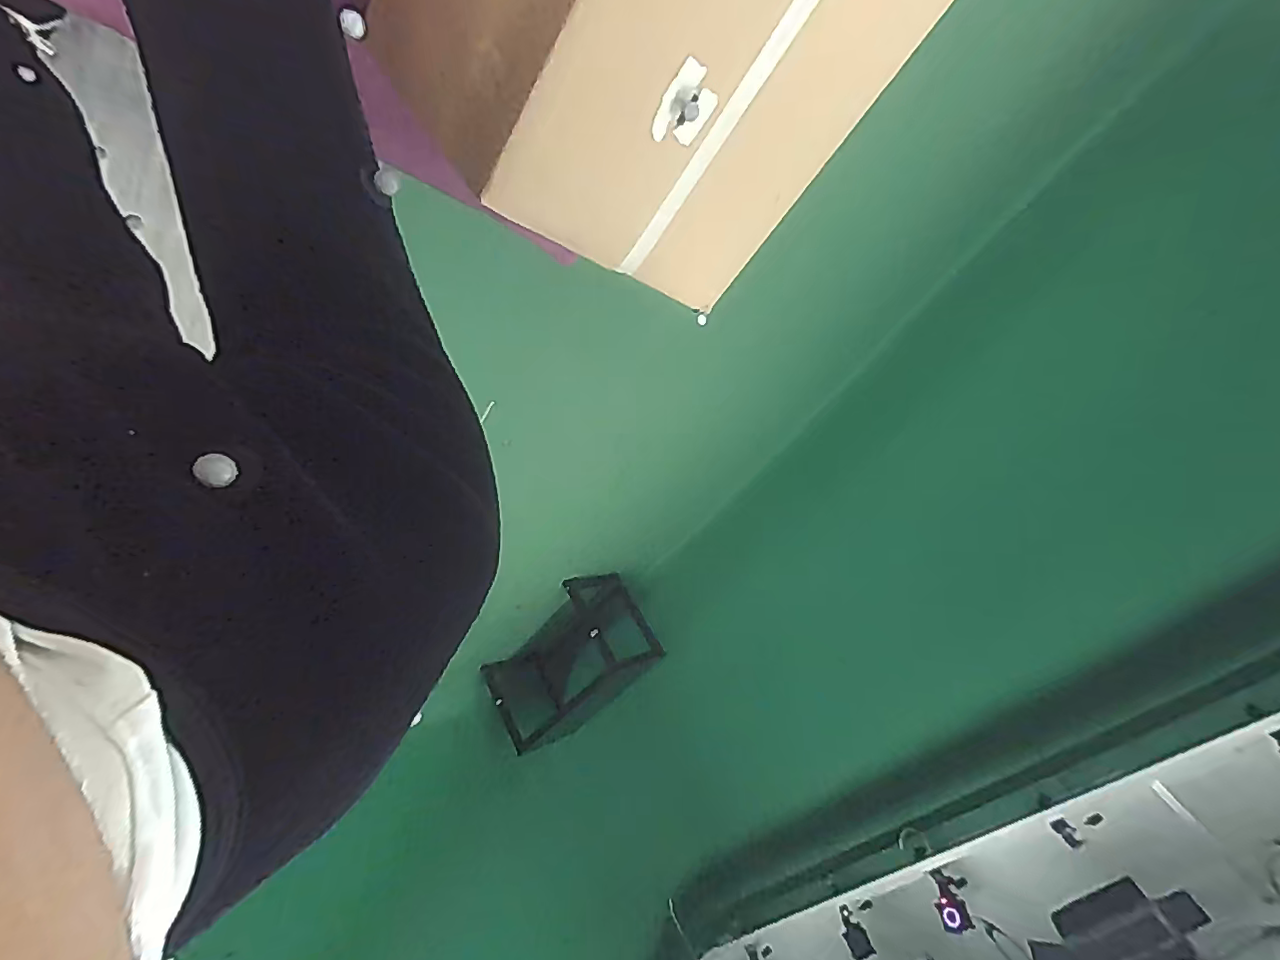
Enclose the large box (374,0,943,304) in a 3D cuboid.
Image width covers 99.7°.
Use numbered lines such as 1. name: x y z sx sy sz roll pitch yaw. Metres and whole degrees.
1. large box: 0.020 -0.450 0.490 0.320 0.320 0.408 2 137 -51
